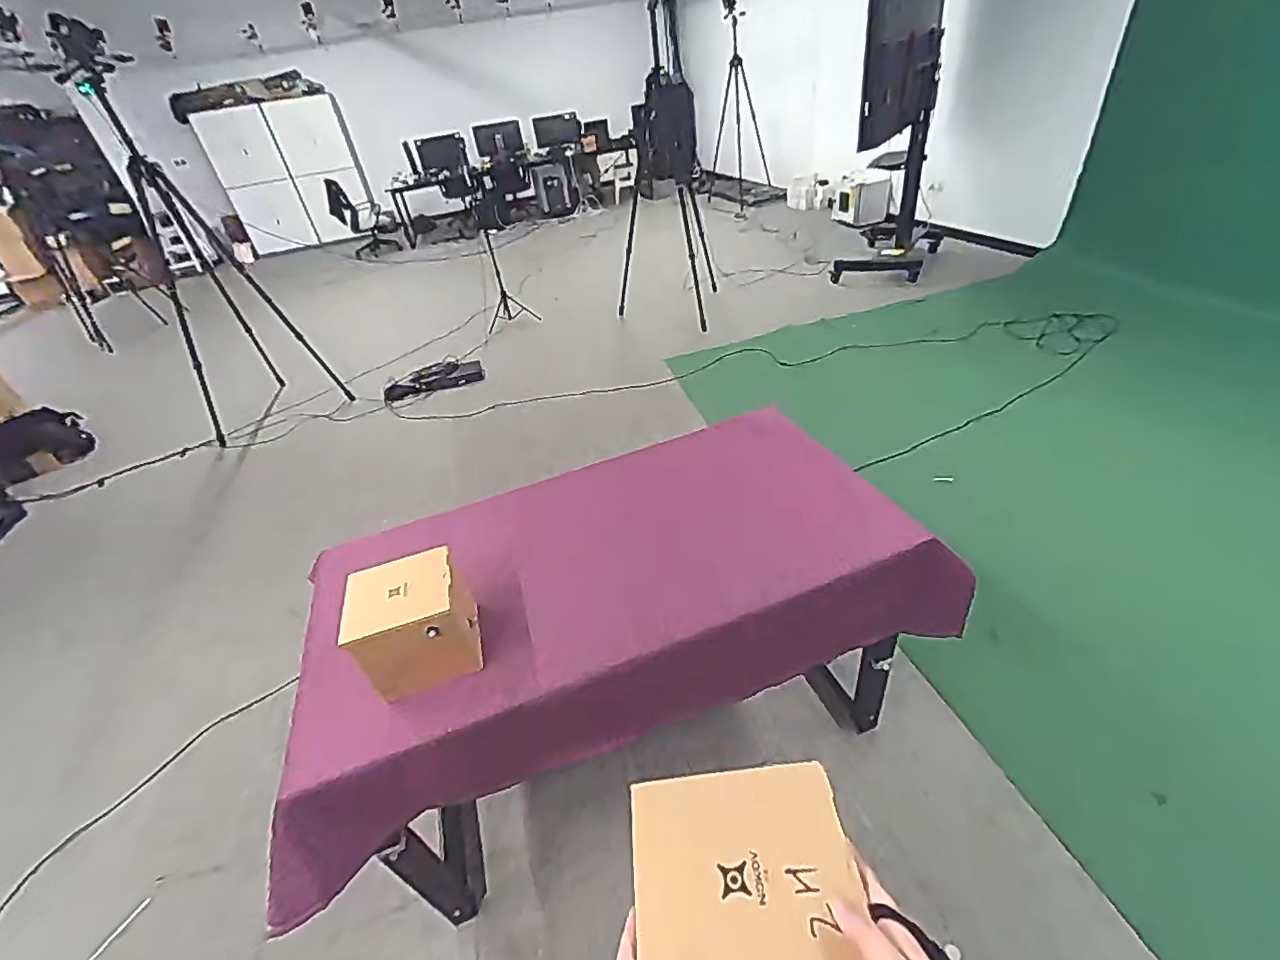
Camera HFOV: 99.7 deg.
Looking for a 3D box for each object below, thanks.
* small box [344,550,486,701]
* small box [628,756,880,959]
[{"bbox_3d":[-0.391,0.260,0.962,0.179,0.176,0.168,-17,37,-10],"label":"small box"},{"bbox_3d":[0.091,0.371,0.470,0.179,0.176,0.168,-9,37,3],"label":"small box"}]
